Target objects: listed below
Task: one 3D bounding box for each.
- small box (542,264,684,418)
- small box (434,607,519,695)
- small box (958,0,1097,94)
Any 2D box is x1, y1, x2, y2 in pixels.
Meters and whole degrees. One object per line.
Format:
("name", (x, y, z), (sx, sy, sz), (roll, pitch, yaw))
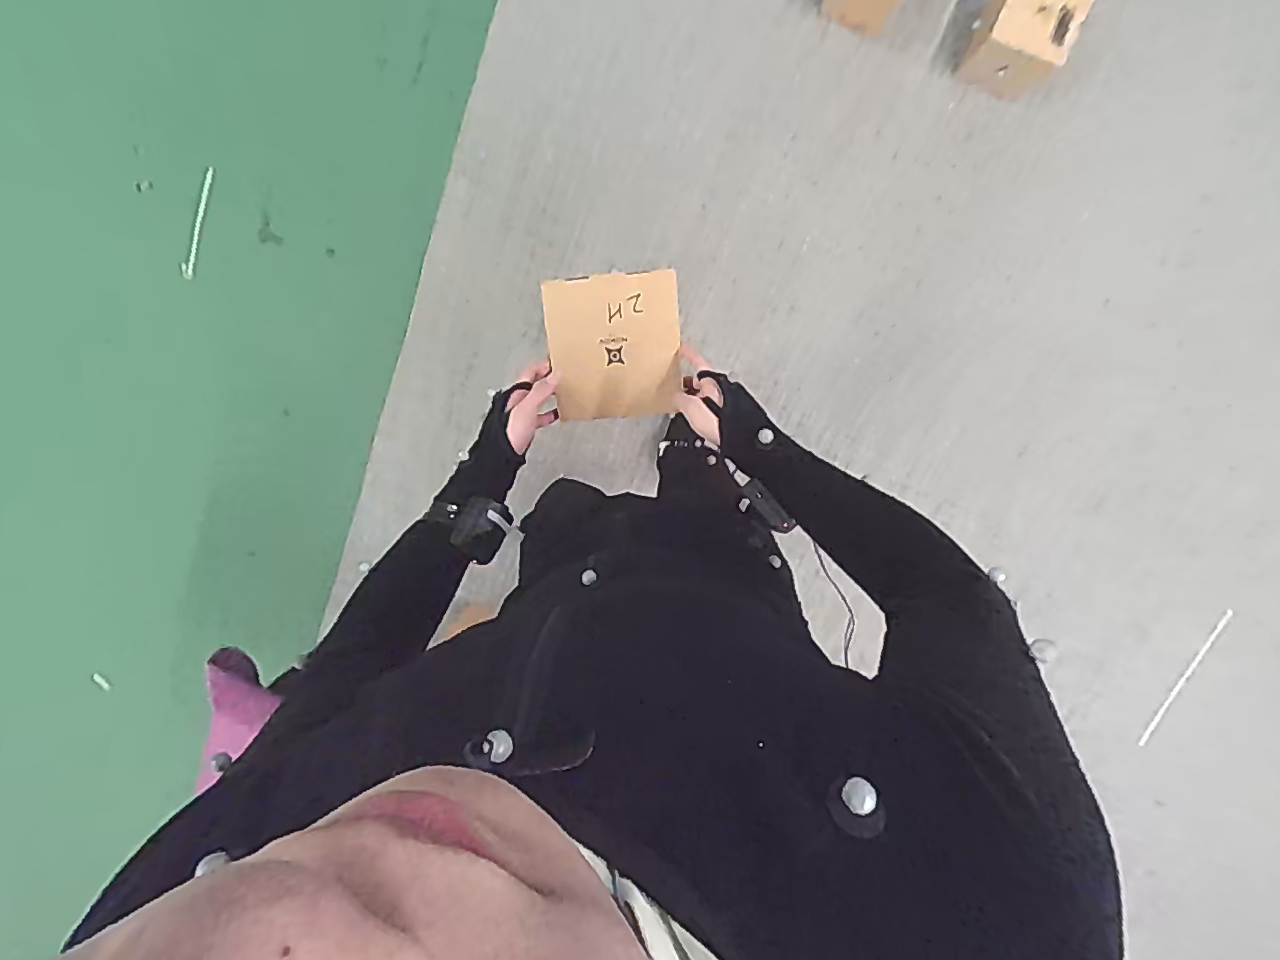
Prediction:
("small box", (-0.026, -0.190, 0.735), (0.168, 0.176, 0.179), (-3, 107, 3))
("small box", (-0.493, 0.516, 1.660), (0.179, 0.176, 0.168), (24, 102, -1))
("small box", (0.875, -1.021, 1.226), (0.179, 0.176, 0.168), (21, 102, 1))
